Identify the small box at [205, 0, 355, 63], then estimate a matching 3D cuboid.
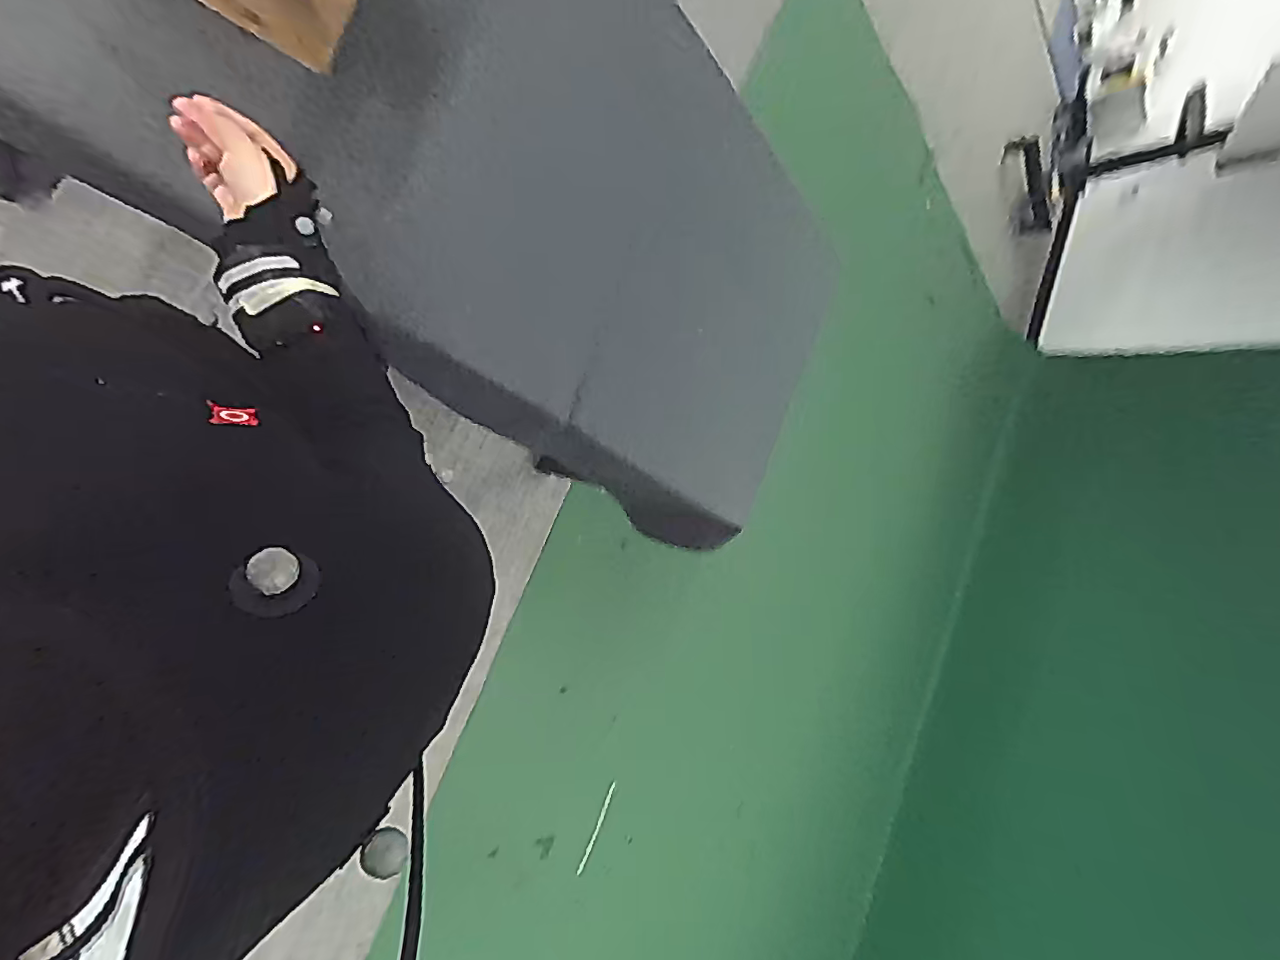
[{"bbox_3d":[-0.301,-0.490,0.420,0.168,0.176,0.179,15,88,-41],"label":"small box"}]
